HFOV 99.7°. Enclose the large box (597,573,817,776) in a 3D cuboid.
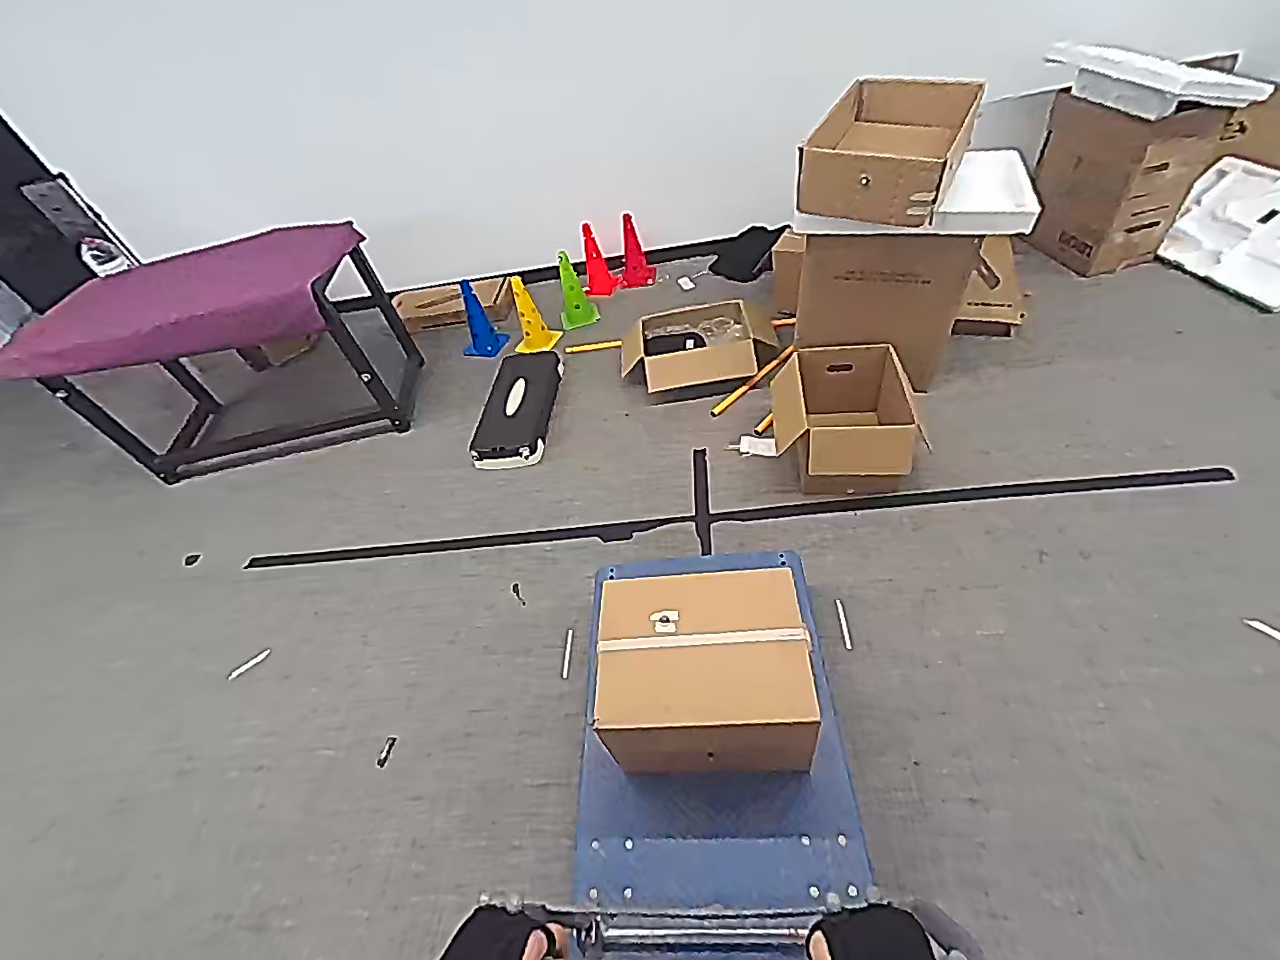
[{"bbox_3d":[0.143,0.433,1.180,0.408,0.320,0.320,-7,46,8],"label":"large box"}]
